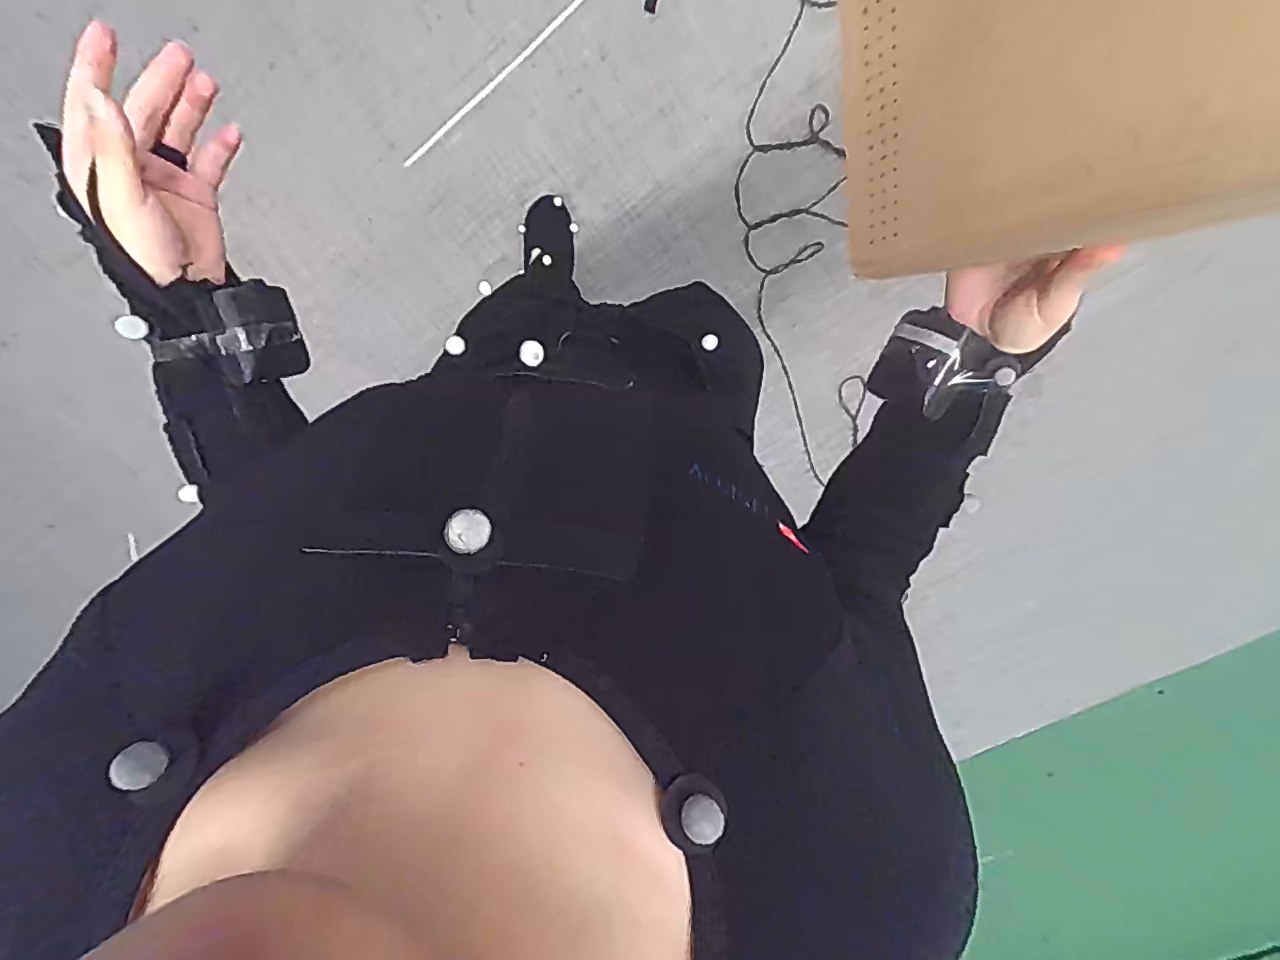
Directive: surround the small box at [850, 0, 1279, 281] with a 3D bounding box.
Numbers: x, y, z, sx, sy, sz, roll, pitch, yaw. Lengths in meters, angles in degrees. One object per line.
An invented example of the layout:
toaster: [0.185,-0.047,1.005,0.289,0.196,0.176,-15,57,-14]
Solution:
small box: [0.198,-0.186,0.200,0.168,0.176,0.179,-14,104,-20]
